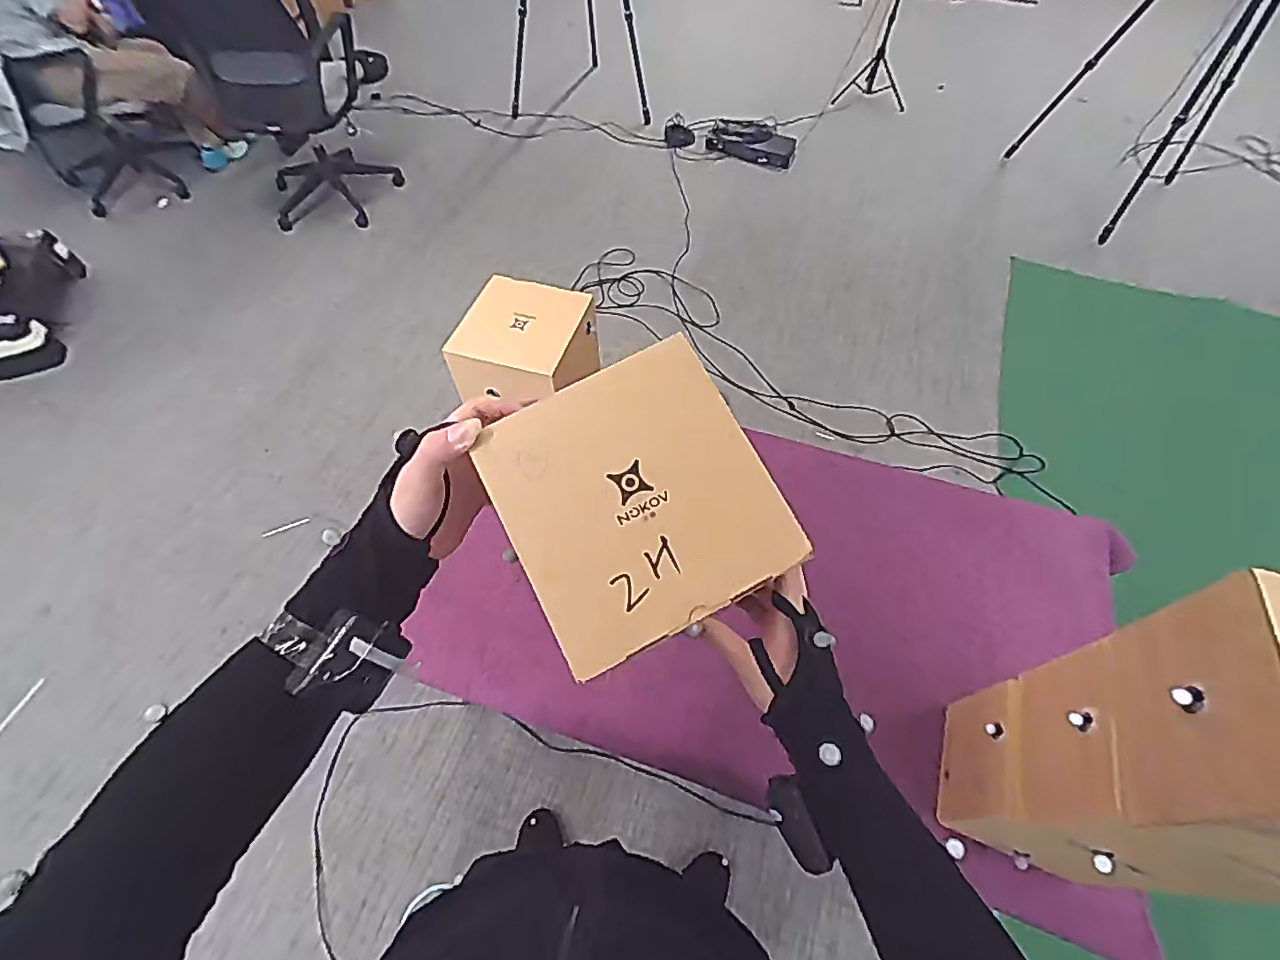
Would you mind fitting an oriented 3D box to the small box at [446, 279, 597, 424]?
[{"bbox_3d":[-0.170,-0.180,0.849,0.168,0.176,0.179,14,58,8],"label":"small box"}]

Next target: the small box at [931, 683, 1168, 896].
[{"bbox_3d":[0.507,0.387,0.689,0.179,0.176,0.168,20,58,12],"label":"small box"}]

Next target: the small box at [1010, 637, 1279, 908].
[{"bbox_3d":[0.512,0.296,0.555,0.168,0.176,0.179,19,58,13],"label":"small box"}]

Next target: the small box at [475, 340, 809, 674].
[{"bbox_3d":[-0.003,0.028,0.427,0.168,0.176,0.179,-26,79,-6],"label":"small box"}]
